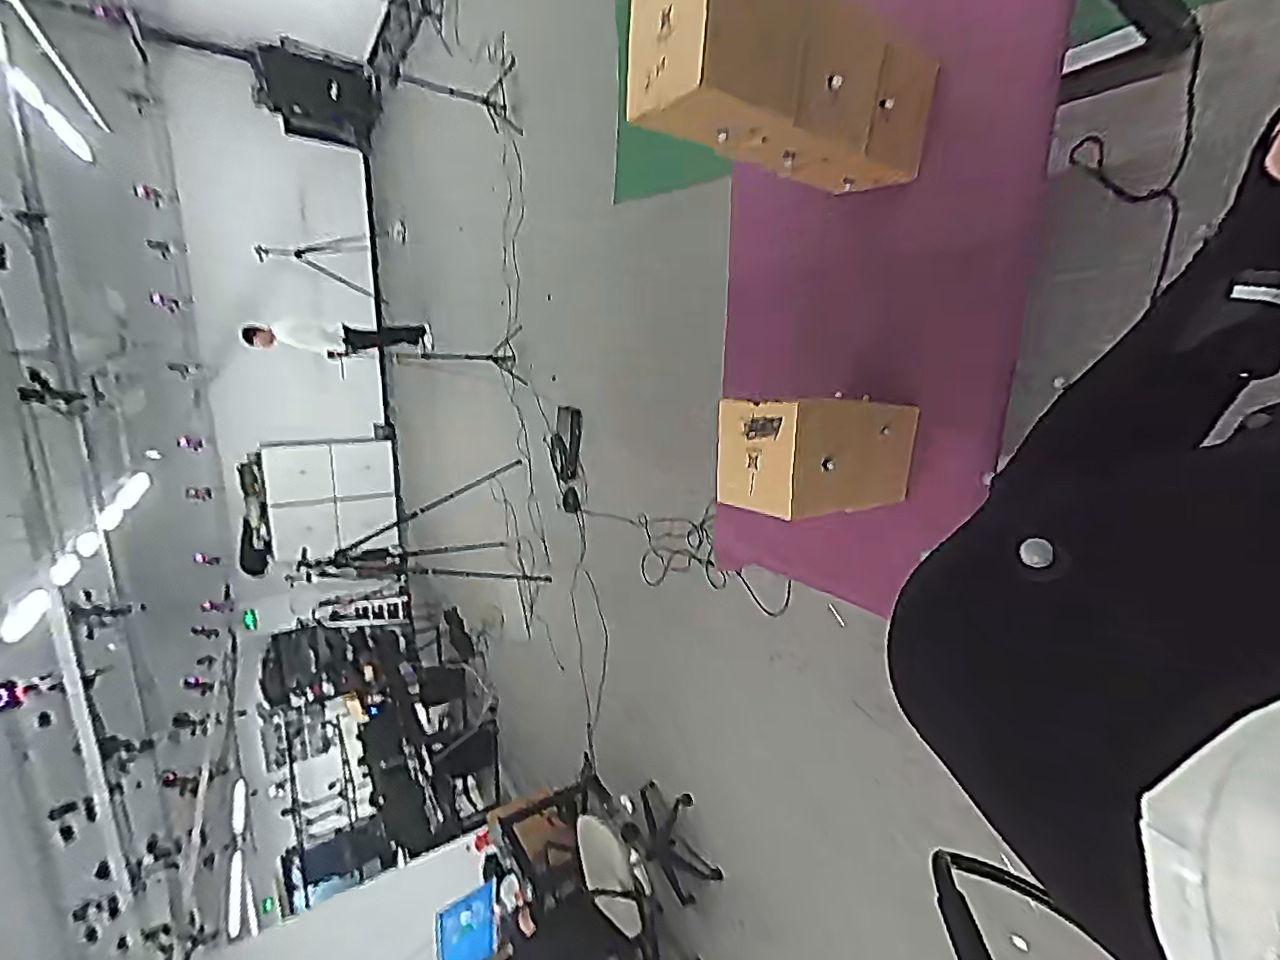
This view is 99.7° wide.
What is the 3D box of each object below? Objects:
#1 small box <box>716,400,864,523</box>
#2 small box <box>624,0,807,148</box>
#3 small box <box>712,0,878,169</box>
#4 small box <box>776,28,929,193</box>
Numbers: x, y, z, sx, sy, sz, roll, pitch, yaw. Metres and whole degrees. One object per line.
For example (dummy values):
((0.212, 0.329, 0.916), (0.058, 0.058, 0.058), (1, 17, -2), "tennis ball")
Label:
((0.245, -0.041, 0.887), (0.168, 0.176, 0.179), (14, 108, 53), "small box")
((0.098, -0.569, 0.713), (0.168, 0.176, 0.179), (25, 118, 51), "small box")
((0.230, -0.583, 0.811), (0.168, 0.176, 0.179), (25, 118, 50), "small box")
((0.357, -0.605, 0.913), (0.168, 0.176, 0.179), (25, 117, 50), "small box")
